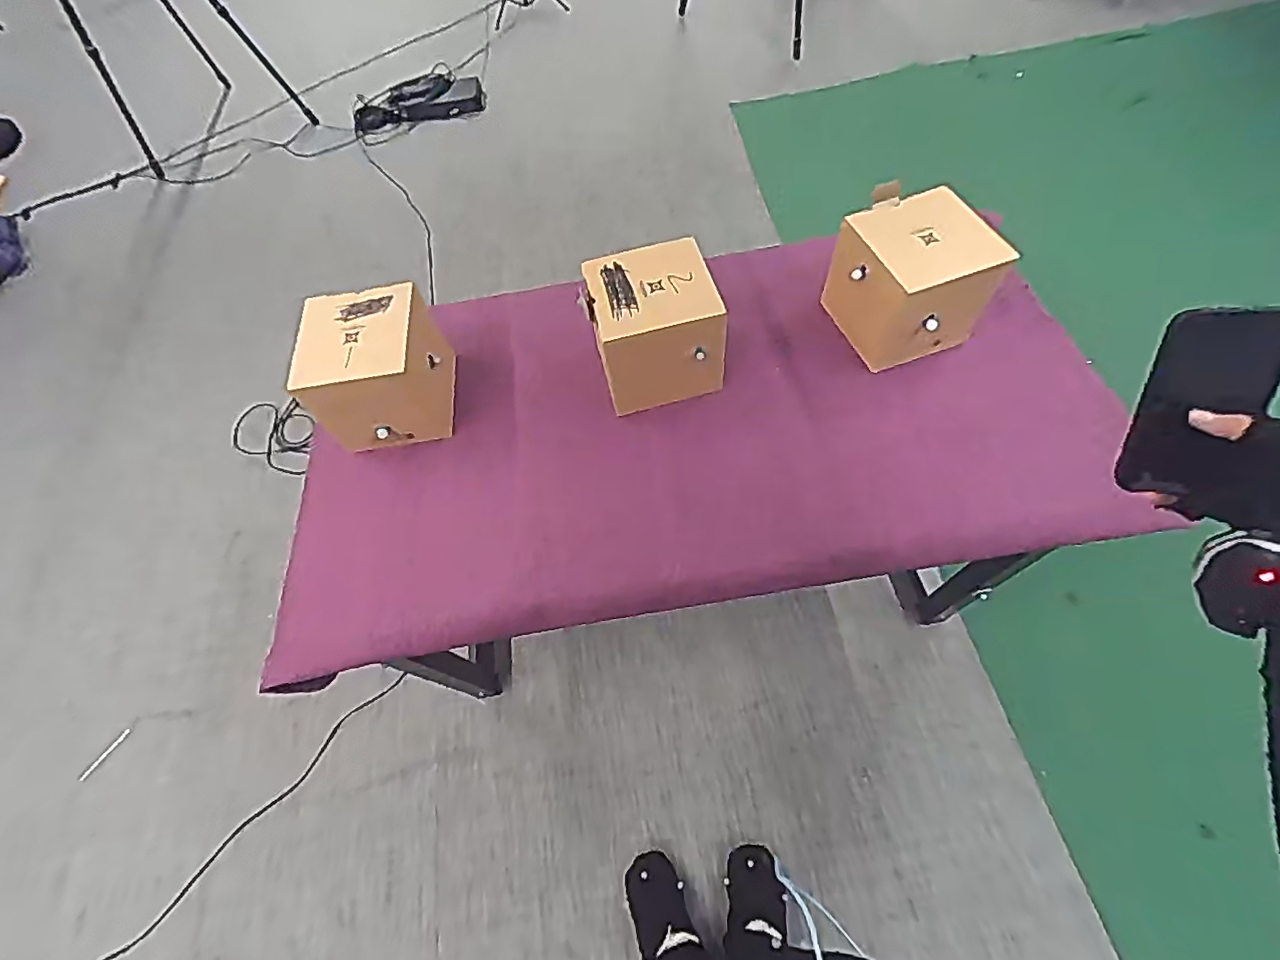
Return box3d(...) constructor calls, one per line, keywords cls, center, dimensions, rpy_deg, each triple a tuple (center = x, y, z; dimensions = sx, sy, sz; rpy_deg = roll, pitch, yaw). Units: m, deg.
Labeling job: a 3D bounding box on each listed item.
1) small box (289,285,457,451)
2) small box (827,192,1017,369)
box3d(cls="small box", center=(-0.395, -0.167, 0.835), dimensions=(0.168, 0.176, 0.179), rpy_deg=(-8, 62, 1))
box3d(cls="small box", center=(0.410, -0.291, 0.822), dimensions=(0.168, 0.176, 0.179), rpy_deg=(-19, 60, -4))
